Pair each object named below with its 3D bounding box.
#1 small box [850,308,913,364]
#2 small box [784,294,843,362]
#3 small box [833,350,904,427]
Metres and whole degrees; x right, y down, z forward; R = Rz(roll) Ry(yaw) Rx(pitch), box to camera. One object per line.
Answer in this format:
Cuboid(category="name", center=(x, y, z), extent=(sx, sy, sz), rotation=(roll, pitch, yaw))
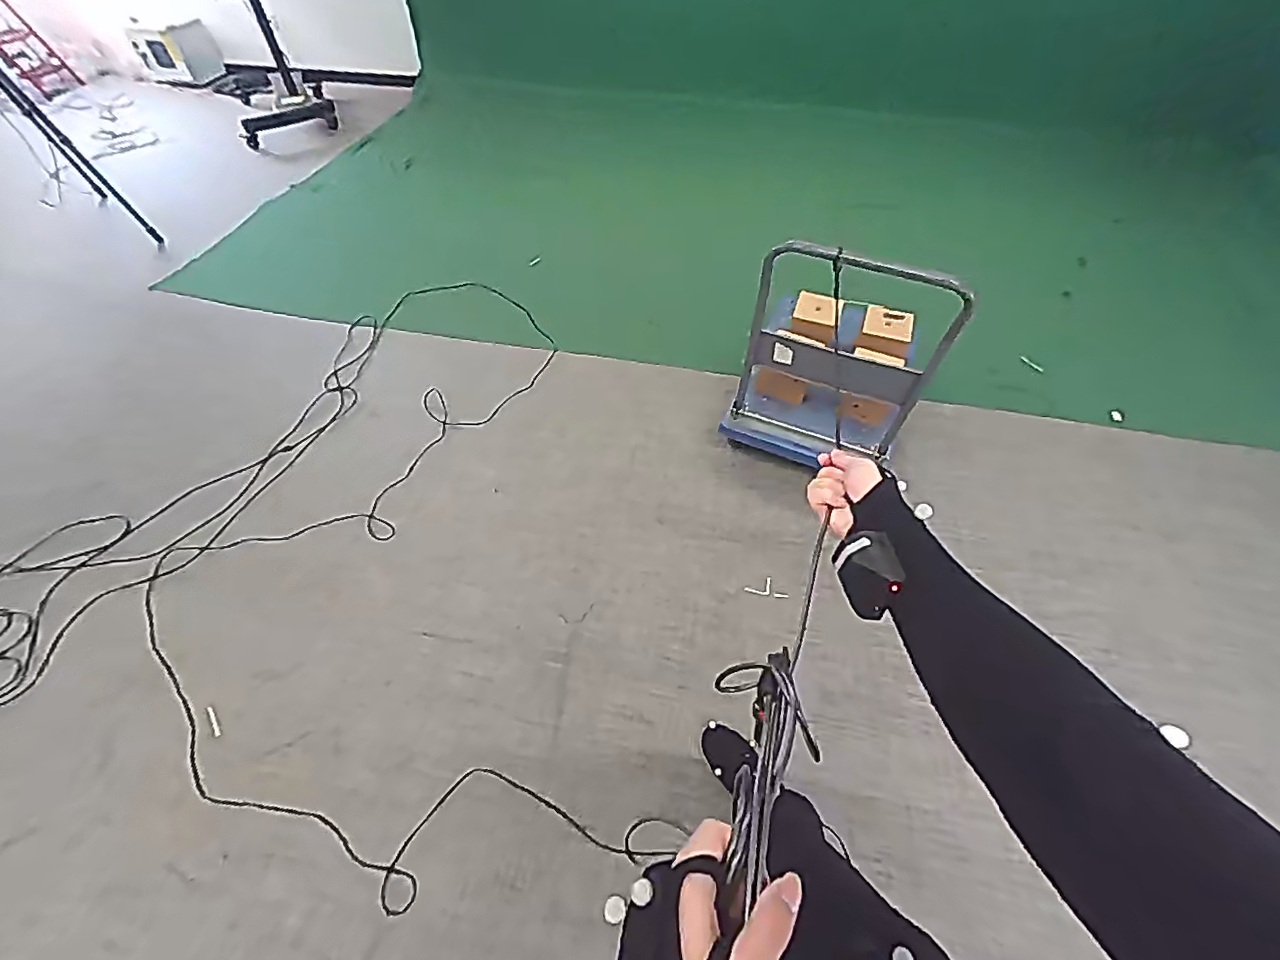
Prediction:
Cuboid(category="small box", center=(0.897, -0.510, 2.018), extent=(0.168, 0.176, 0.179), rotation=(16, 54, 13))
Cuboid(category="small box", center=(0.662, -0.580, 2.073), extent=(0.168, 0.176, 0.179), rotation=(17, 54, 12))
Cuboid(category="small box", center=(0.785, -0.315, 1.867), extent=(0.168, 0.176, 0.179), rotation=(21, 55, 15))
